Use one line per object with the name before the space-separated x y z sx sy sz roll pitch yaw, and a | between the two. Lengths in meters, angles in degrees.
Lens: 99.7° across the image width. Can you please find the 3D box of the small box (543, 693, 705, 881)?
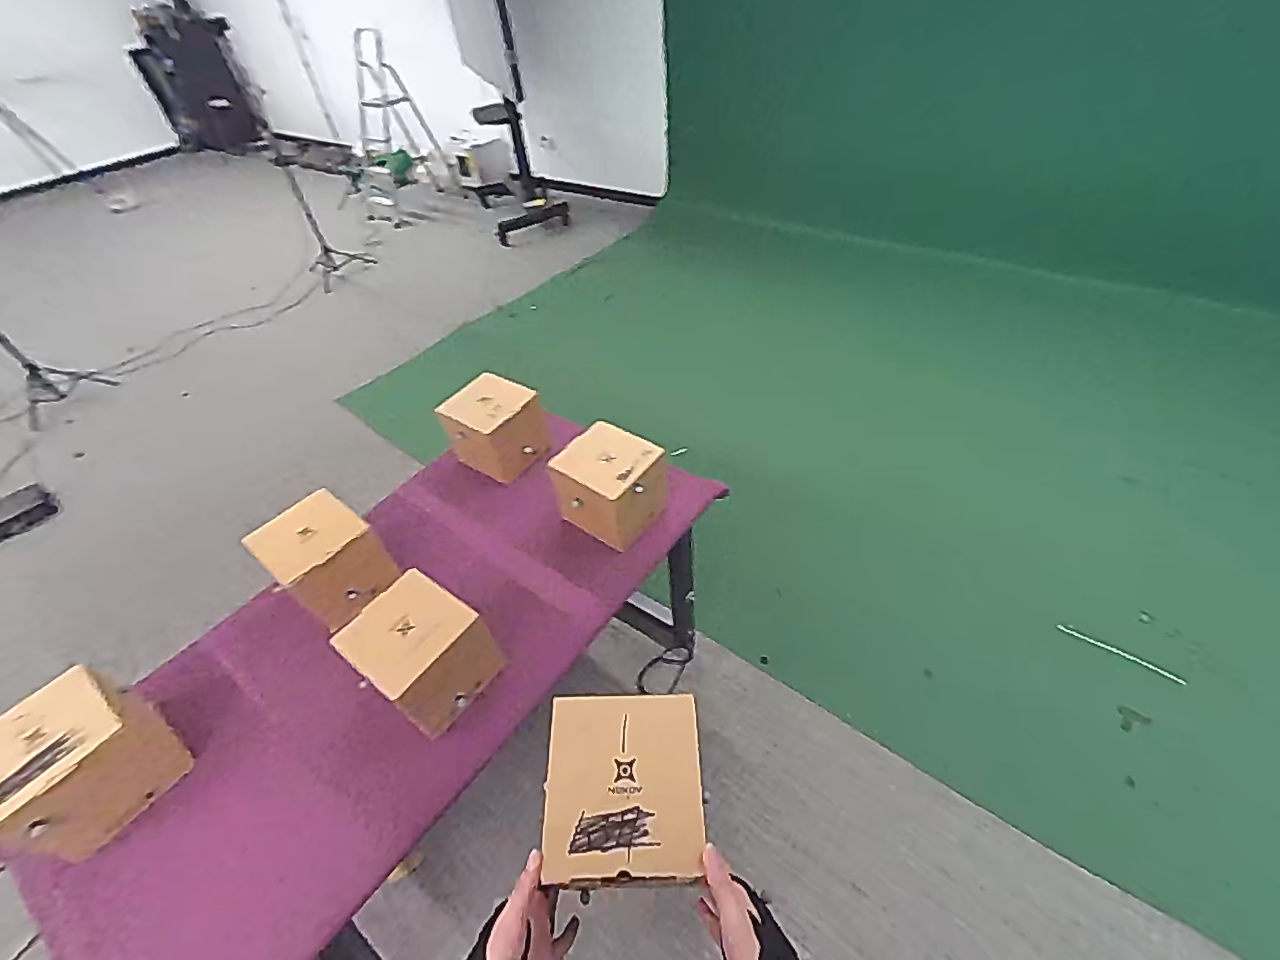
small box | -0.011 0.369 0.644 0.168 0.176 0.179 -2 51 1

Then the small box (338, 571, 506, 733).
small box | -0.360 0.294 0.917 0.179 0.176 0.168 24 55 29

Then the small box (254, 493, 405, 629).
small box | -0.611 0.164 1.080 0.179 0.176 0.168 28 55 28

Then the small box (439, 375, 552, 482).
small box | -0.343 -0.123 1.312 0.179 0.176 0.168 25 57 27

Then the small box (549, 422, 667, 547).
small box | -0.061 0.012 1.143 0.179 0.176 0.168 26 56 29
